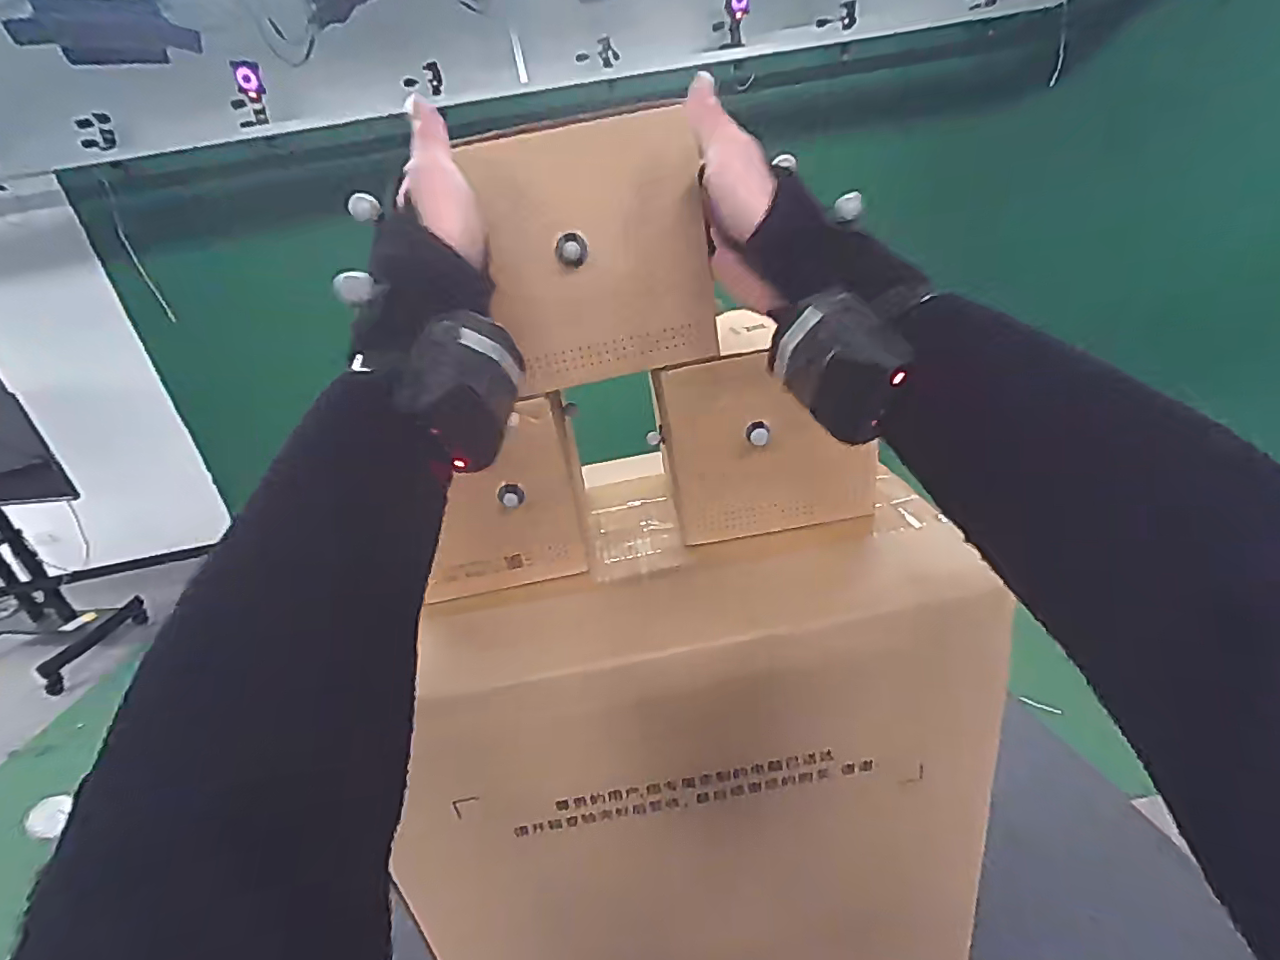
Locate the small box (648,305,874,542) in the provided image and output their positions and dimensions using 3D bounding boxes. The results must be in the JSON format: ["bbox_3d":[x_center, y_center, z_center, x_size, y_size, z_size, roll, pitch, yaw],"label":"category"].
[{"bbox_3d":[0.107,-0.058,0.522,0.179,0.176,0.168,-11,26,0],"label":"small box"}]

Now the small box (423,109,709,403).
[{"bbox_3d":[-0.047,-0.178,0.445,0.179,0.176,0.168,-13,26,-2],"label":"small box"}]

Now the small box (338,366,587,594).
[{"bbox_3d":[-0.145,-0.007,0.516,0.168,0.176,0.179,-10,24,-3],"label":"small box"}]
